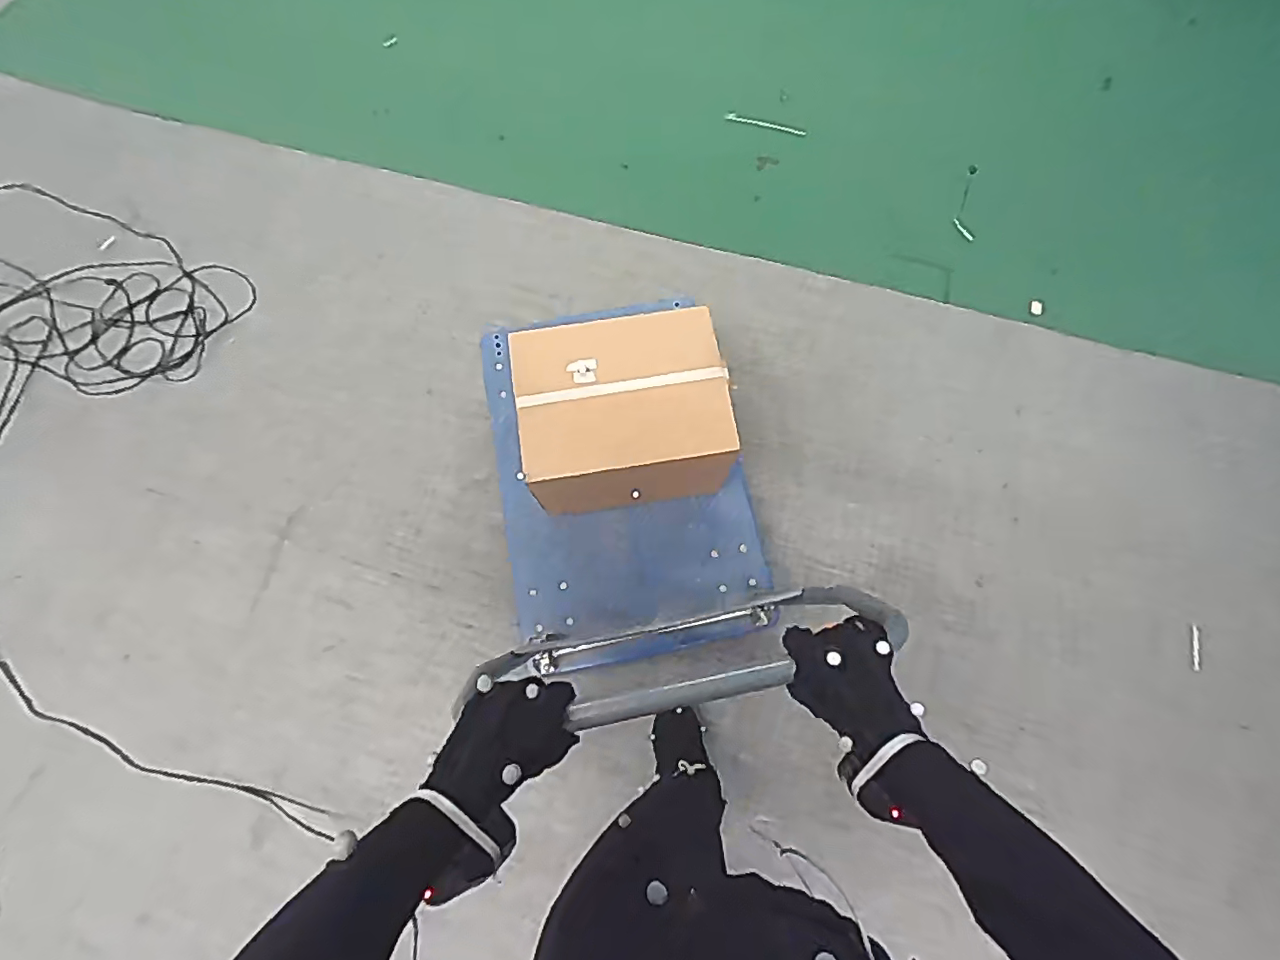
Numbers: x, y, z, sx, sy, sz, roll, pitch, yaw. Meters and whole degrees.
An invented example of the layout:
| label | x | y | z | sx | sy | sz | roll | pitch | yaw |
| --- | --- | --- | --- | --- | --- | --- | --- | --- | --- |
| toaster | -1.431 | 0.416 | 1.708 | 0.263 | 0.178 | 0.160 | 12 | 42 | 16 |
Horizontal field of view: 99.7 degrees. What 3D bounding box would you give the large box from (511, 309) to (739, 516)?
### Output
| label | x | y | z | sx | sy | sz | roll | pitch | yaw |
| --- | --- | --- | --- | --- | --- | --- | --- | --- | --- |
| large box | -0.032 | -0.126 | 1.176 | 0.408 | 0.320 | 0.320 | -9 | 74 | -2 |
